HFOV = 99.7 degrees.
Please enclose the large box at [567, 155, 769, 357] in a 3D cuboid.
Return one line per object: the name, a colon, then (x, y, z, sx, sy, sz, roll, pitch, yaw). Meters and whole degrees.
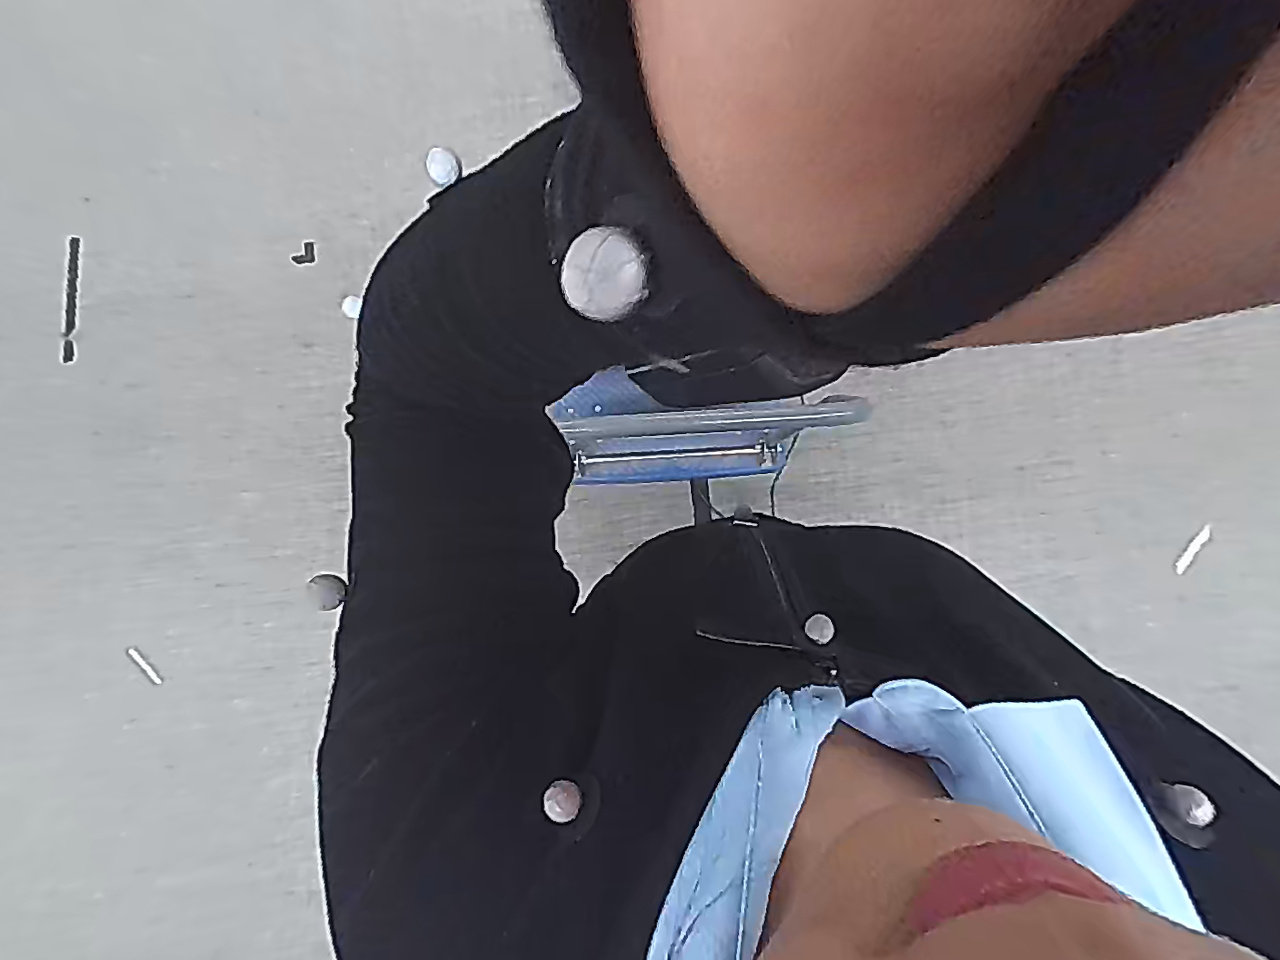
large box: (0.063, -0.487, 1.243, 0.408, 0.320, 0.320, -2, 83, 3)
